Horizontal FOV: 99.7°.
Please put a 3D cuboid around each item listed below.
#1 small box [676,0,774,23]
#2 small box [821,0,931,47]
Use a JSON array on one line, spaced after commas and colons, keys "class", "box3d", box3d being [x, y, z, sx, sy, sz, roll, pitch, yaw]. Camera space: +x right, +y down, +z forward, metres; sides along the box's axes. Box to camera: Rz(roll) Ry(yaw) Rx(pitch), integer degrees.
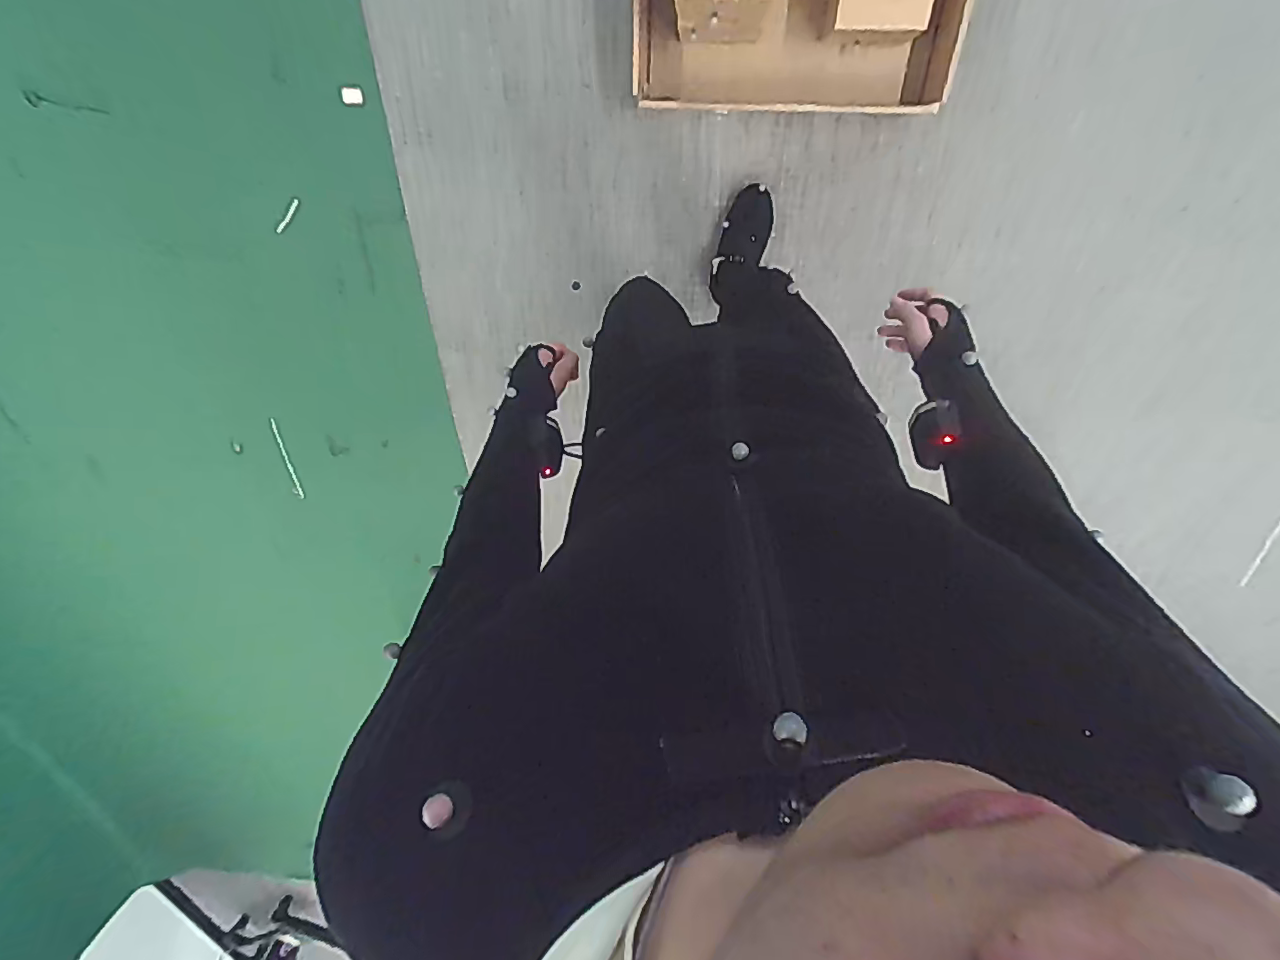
[{"class": "small box", "box3d": [0.143, -0.882, 0.883, 0.168, 0.176, 0.179, 5, 120, 3]}, {"class": "small box", "box3d": [0.444, -0.935, 1.005, 0.168, 0.176, 0.179, 5, 121, 5]}]
